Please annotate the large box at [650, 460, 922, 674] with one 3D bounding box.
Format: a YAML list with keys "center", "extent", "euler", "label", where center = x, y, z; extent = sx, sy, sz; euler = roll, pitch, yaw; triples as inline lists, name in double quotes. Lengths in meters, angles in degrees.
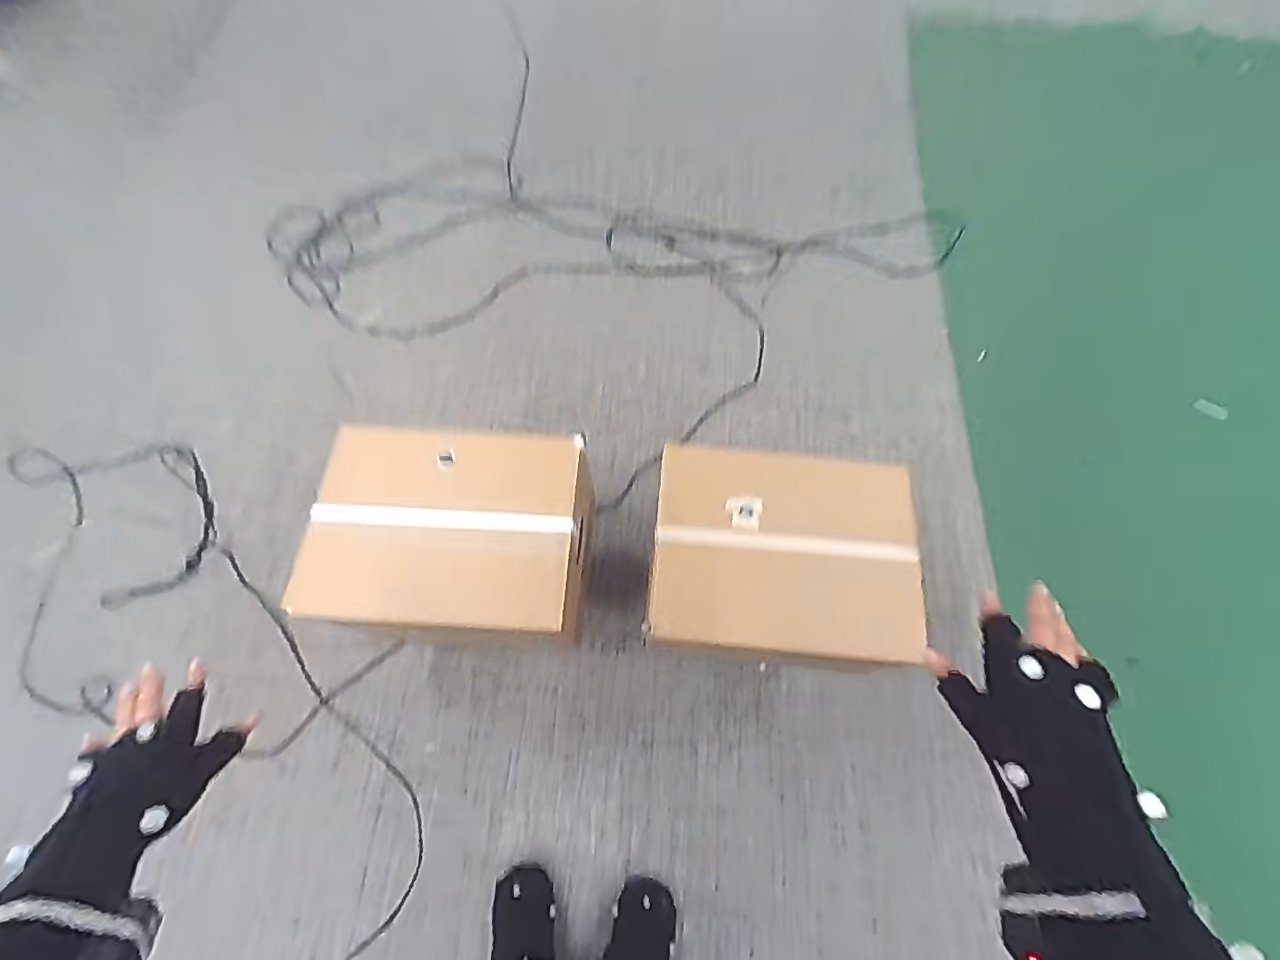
- center: [0.232, 0.176, 0.993]
  extent: [0.408, 0.320, 0.320]
  euler: [5, 67, 2]
  label: "large box"
